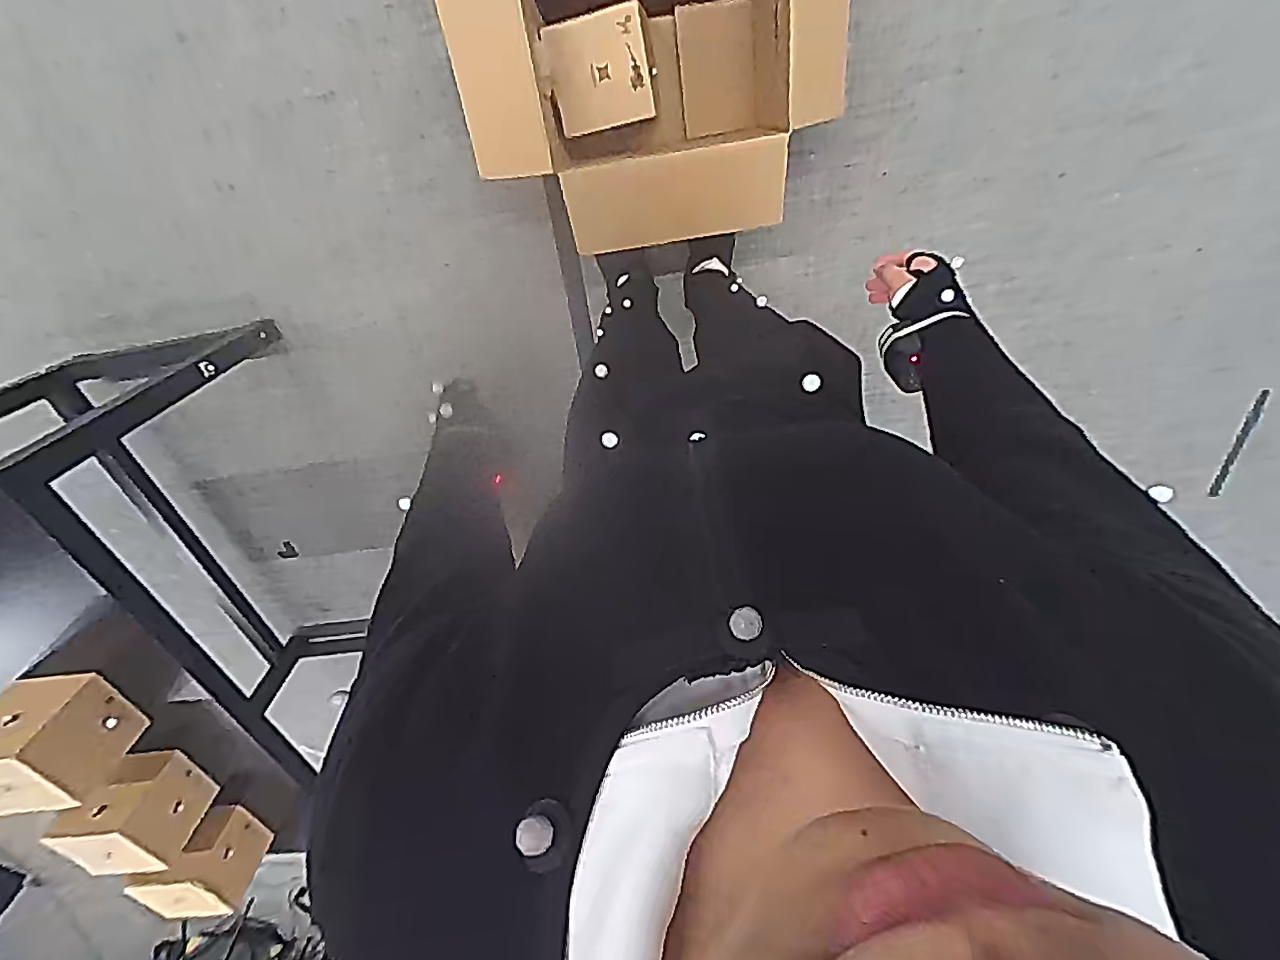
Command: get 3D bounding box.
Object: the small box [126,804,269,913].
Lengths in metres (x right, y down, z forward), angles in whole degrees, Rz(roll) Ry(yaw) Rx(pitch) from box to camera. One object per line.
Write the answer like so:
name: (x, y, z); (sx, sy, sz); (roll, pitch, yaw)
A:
small box: (-1.031, 0.895, 1.285); (0.179, 0.176, 0.168); (-7, 123, 6)

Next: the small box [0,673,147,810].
small box: (-1.096, 0.481, 1.003); (0.179, 0.176, 0.168); (-7, 124, 4)

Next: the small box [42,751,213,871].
small box: (-1.066, 0.699, 1.150); (0.179, 0.176, 0.168); (-7, 123, 5)
